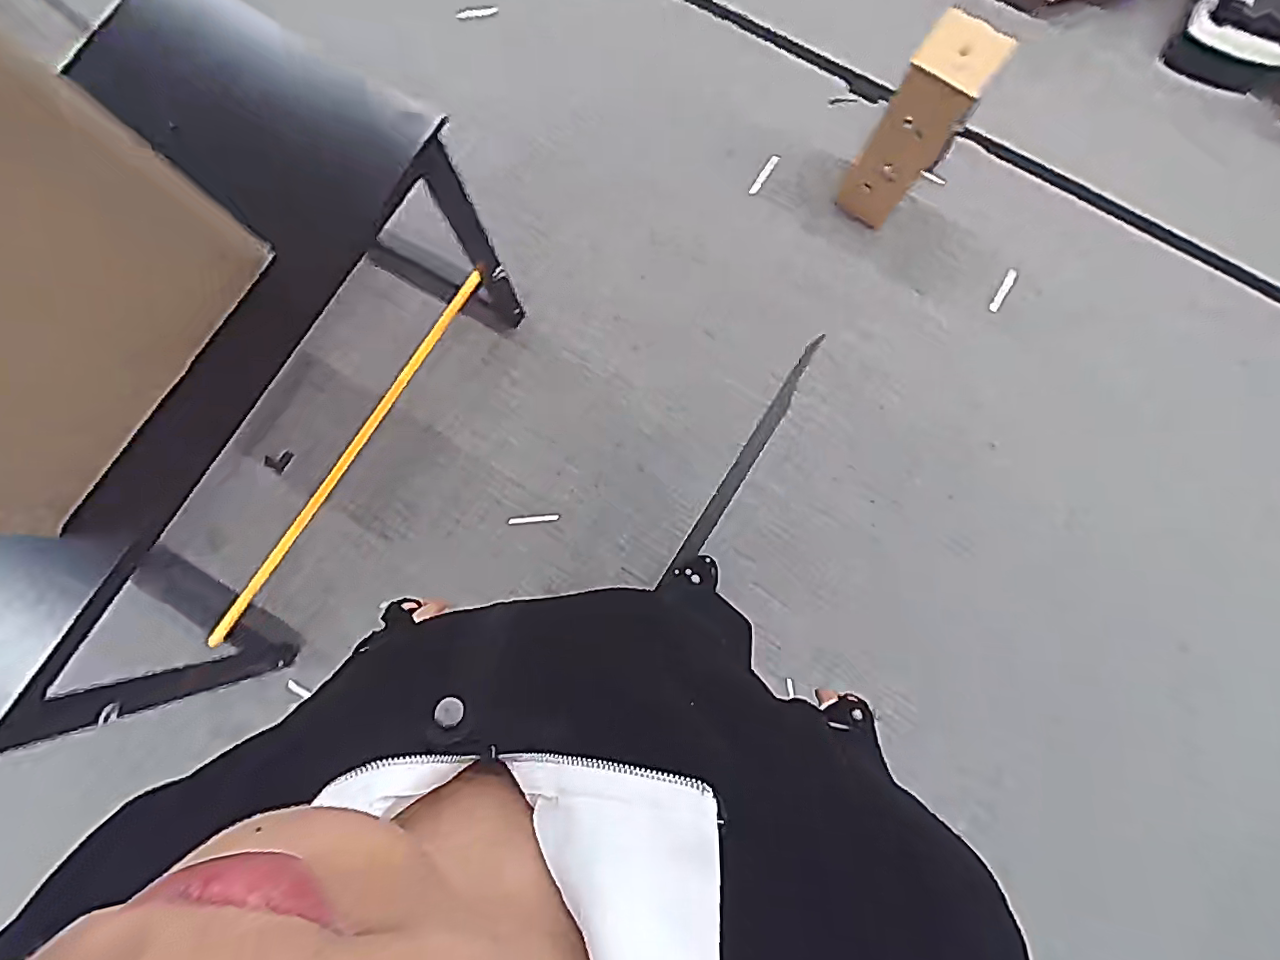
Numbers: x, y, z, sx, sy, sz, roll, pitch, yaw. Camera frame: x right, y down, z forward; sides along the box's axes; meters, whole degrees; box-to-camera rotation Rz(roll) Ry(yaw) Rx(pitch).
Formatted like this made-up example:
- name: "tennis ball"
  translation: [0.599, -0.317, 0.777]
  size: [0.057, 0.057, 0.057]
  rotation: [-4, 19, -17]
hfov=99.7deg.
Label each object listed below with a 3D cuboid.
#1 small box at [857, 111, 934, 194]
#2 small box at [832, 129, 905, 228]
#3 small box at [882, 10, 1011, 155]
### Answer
- name: "small box"
  translation: [0.707, -0.906, 1.423]
  size: [0.168, 0.176, 0.179]
  rotation: [35, 83, 5]
- name: "small box"
  translation: [0.697, -0.882, 1.586]
  size: [0.179, 0.176, 0.168]
  rotation: [35, 83, 4]
- name: "small box"
  translation: [0.701, -0.917, 1.260]
  size: [0.168, 0.176, 0.179]
  rotation: [35, 84, 5]
